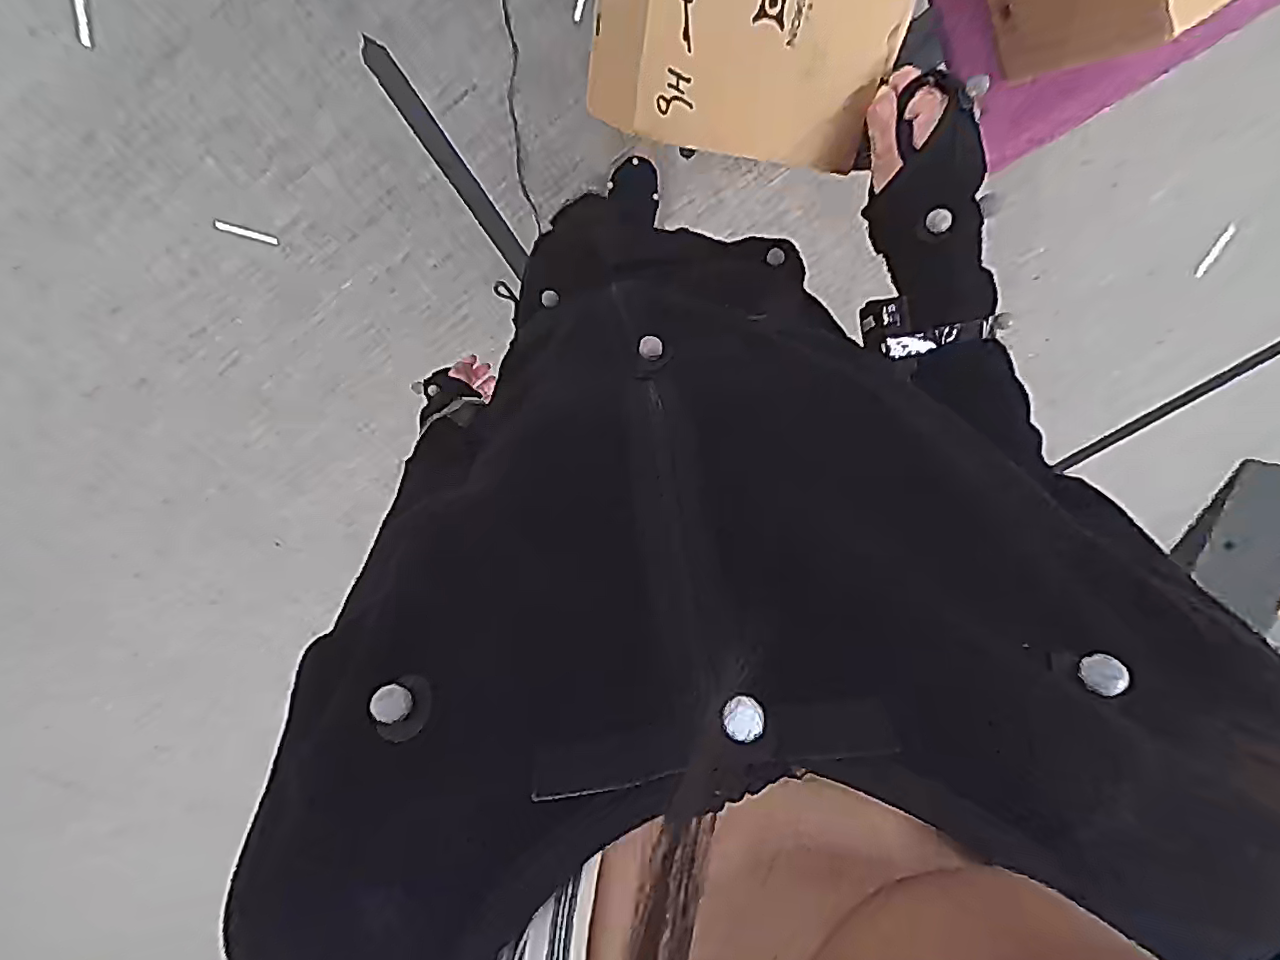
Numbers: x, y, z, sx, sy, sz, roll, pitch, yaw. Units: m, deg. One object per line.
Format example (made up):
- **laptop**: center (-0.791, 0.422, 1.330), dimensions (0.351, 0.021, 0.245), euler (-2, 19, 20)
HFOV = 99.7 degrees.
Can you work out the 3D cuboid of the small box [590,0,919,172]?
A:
- **small box**: center (0.073, -0.341, 0.388), dimensions (0.179, 0.176, 0.168), euler (-2, 128, -18)
